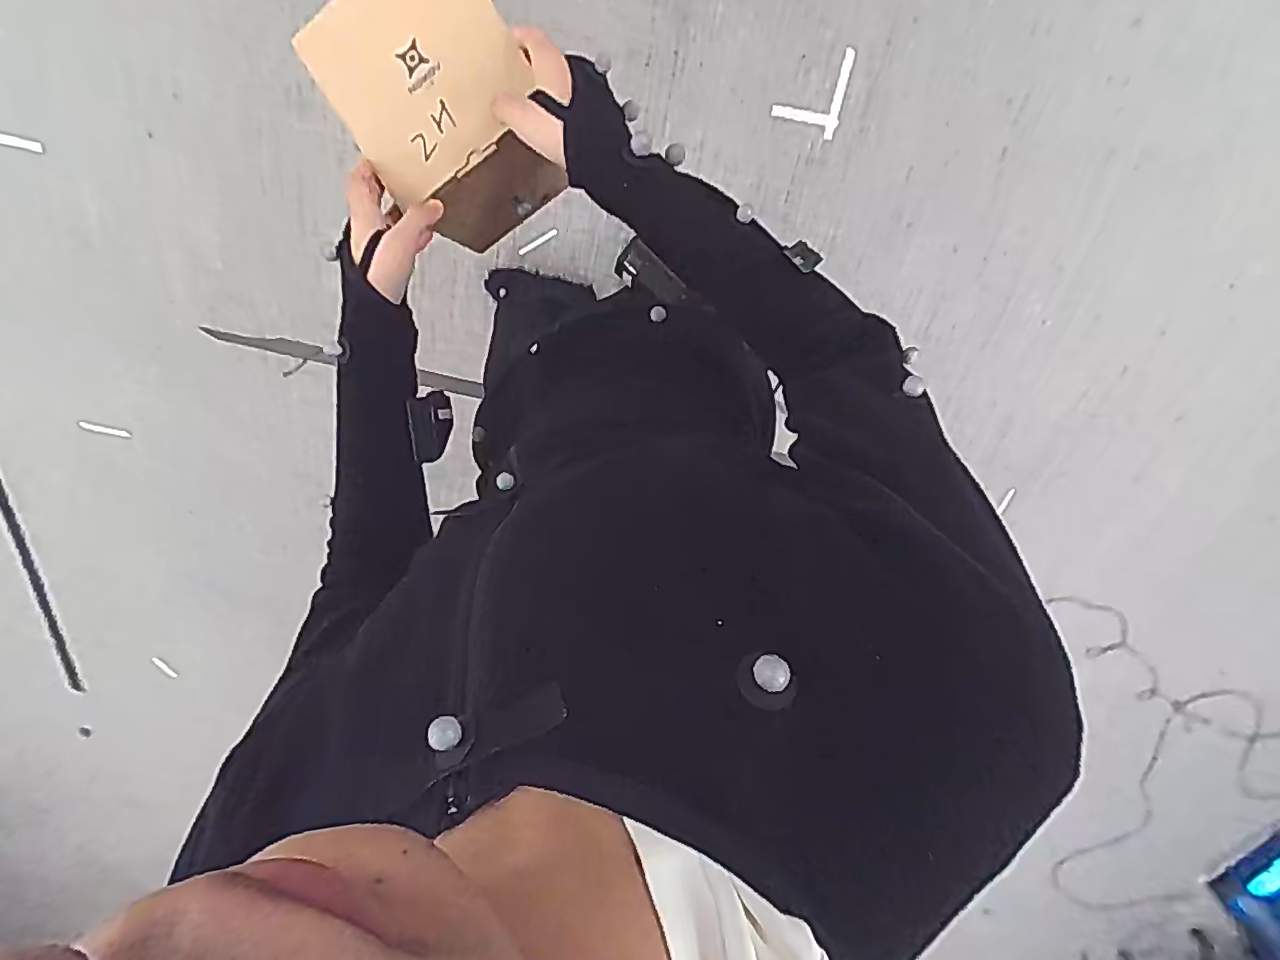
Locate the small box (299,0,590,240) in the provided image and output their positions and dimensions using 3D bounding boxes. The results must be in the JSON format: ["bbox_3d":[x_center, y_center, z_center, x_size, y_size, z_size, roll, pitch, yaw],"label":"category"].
[{"bbox_3d":[-0.171,-0.370,0.531,0.168,0.176,0.179,-30,98,12],"label":"small box"}]
